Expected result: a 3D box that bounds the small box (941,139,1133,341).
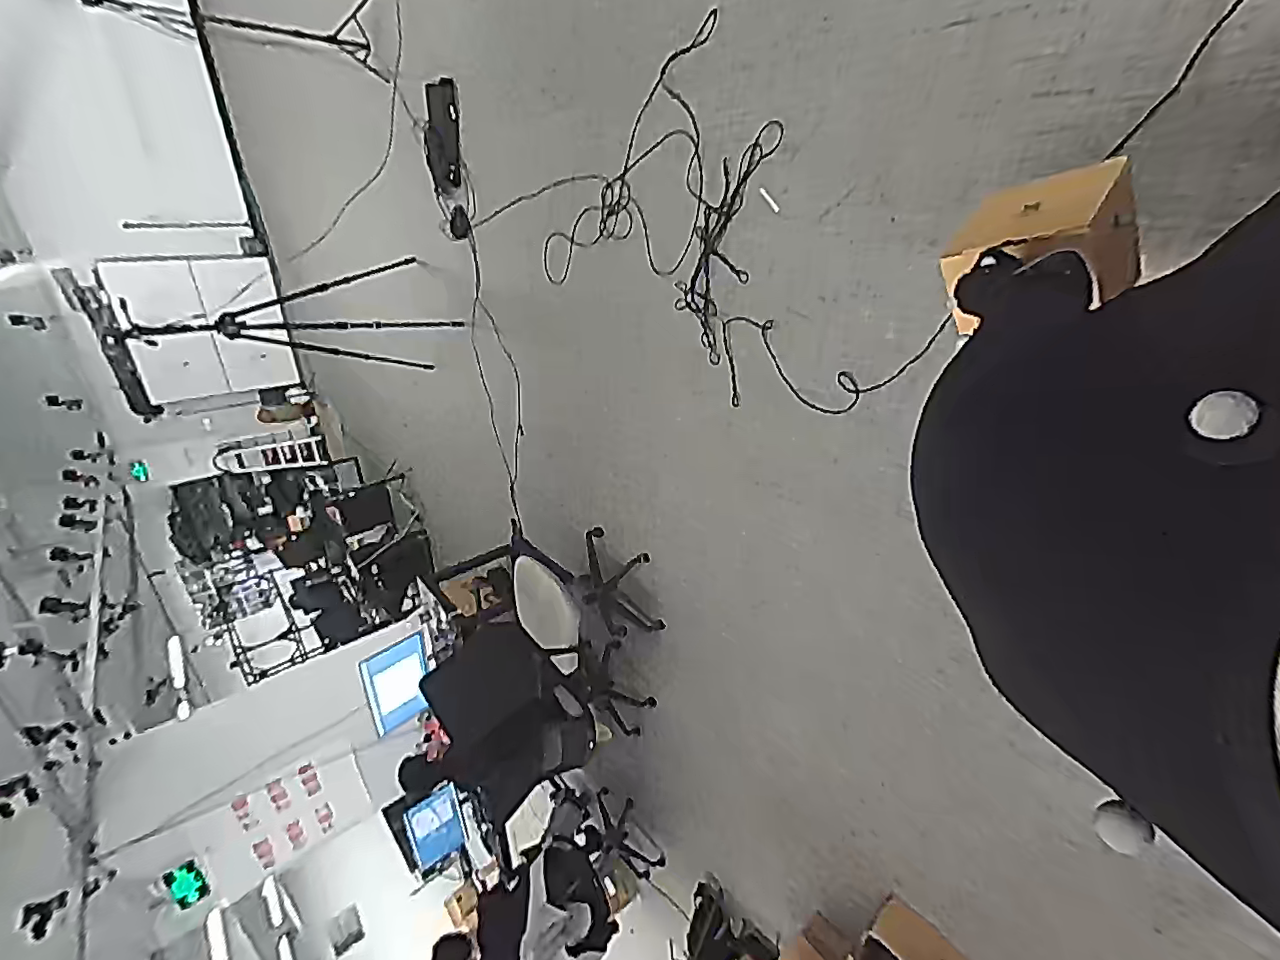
[{"bbox_3d":[0.548,-0.315,0.741,0.168,0.179,0.176,10,144,52],"label":"small box"}]
